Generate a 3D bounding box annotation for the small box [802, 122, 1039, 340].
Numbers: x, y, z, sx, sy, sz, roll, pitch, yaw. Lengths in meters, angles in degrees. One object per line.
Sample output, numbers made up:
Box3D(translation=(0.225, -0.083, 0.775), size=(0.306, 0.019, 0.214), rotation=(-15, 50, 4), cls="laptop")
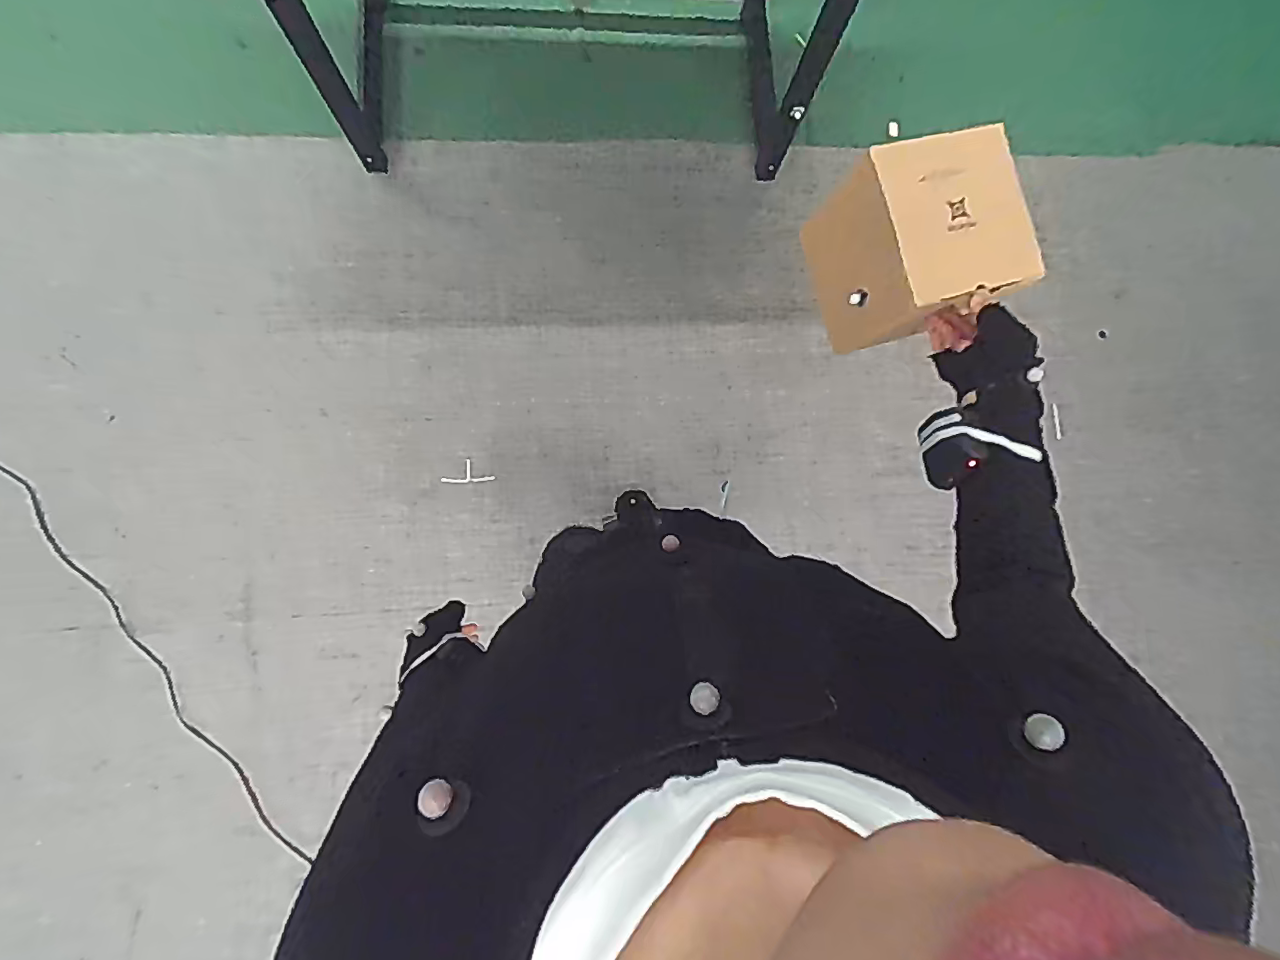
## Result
Box3D(translation=(0.321, -0.281, 0.651), size=(0.168, 0.176, 0.179), rotation=(-15, 89, -9), cls="small box")
